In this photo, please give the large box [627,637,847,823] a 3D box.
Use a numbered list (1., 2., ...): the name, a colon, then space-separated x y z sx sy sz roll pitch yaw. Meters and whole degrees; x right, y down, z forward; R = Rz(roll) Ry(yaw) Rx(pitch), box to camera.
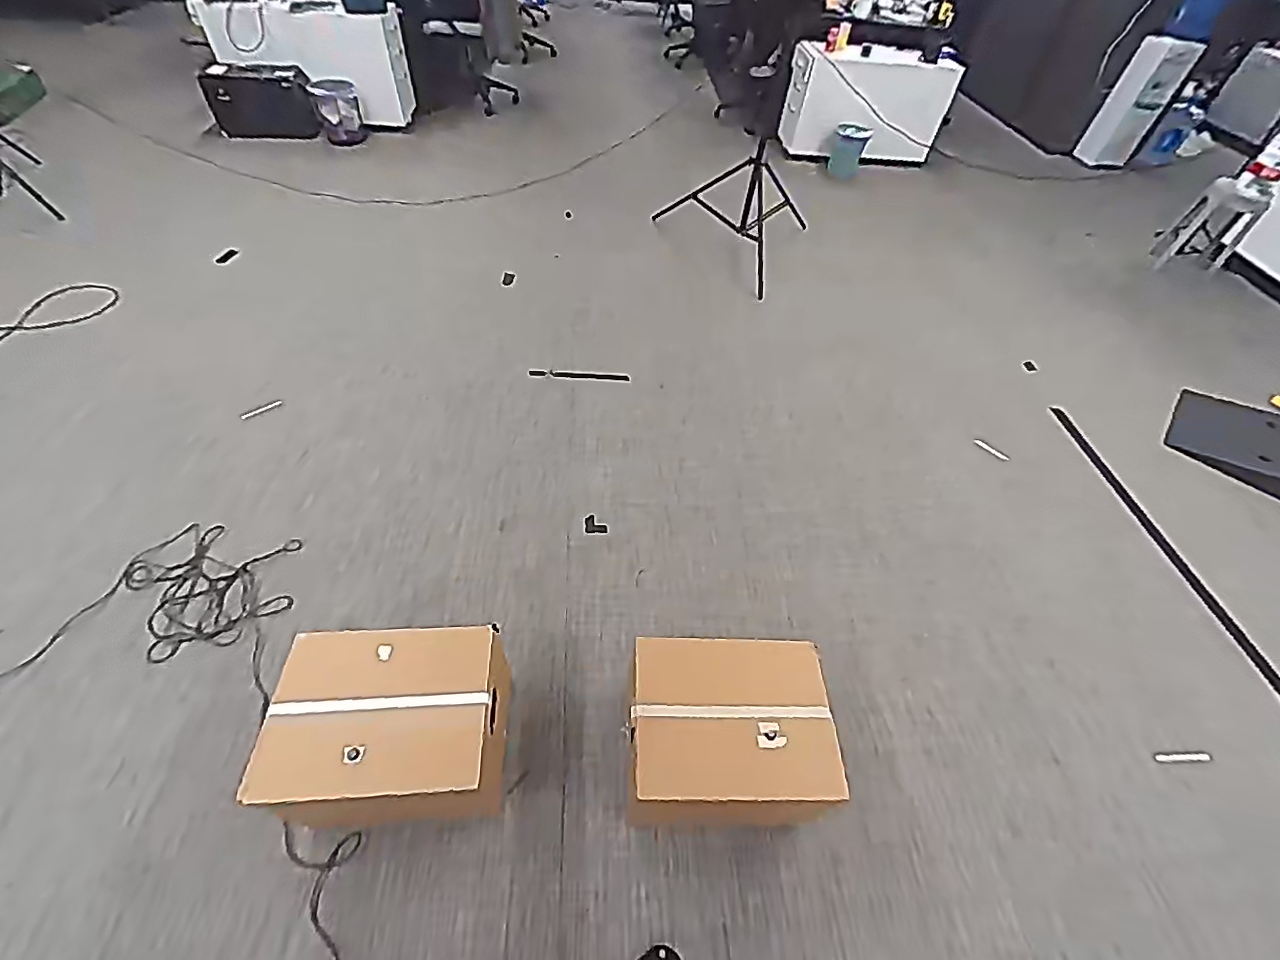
1. large box: 0.182 0.567 1.219 0.408 0.320 0.320 3 50 -4
